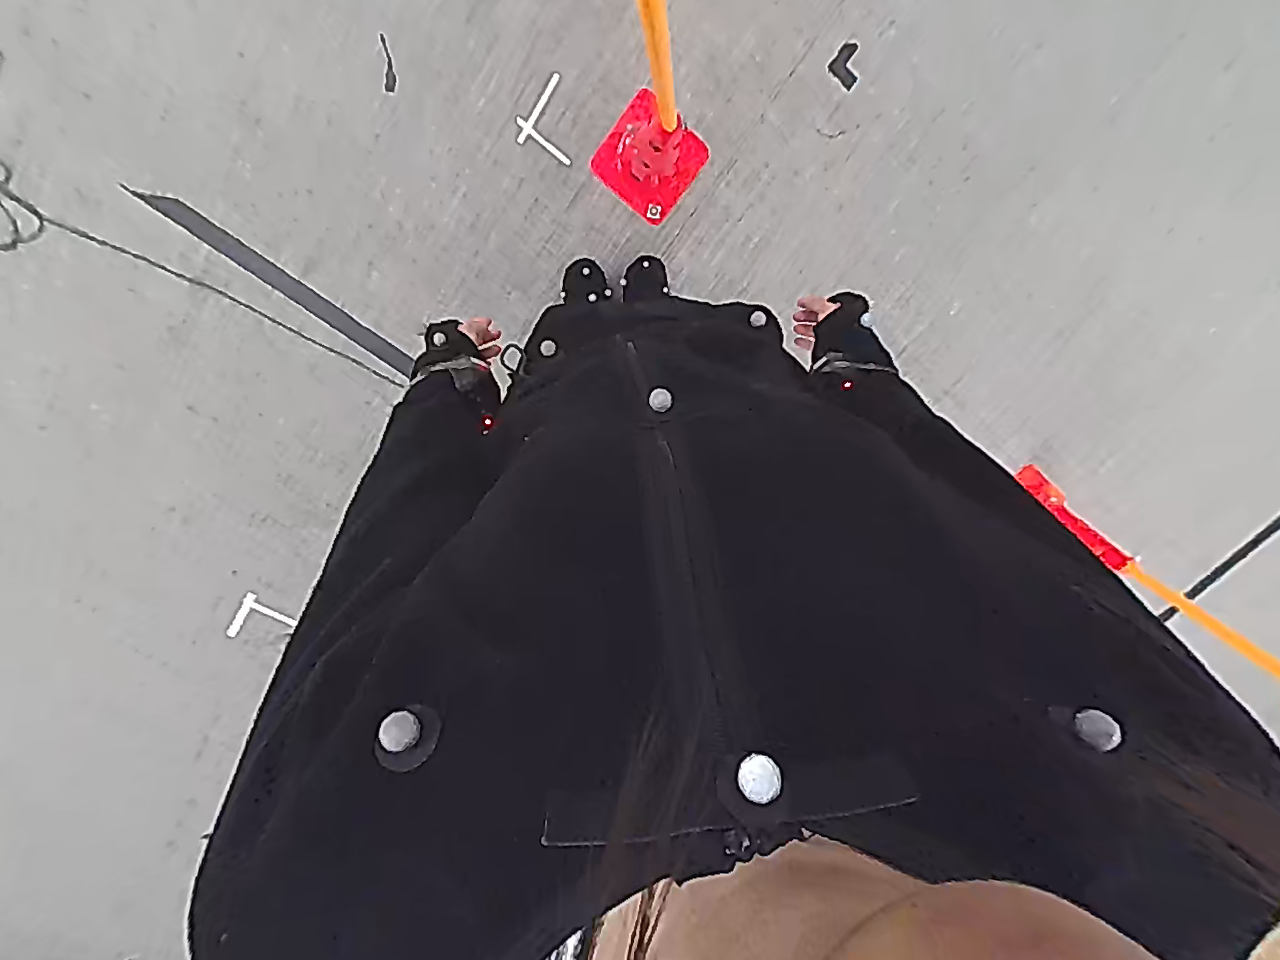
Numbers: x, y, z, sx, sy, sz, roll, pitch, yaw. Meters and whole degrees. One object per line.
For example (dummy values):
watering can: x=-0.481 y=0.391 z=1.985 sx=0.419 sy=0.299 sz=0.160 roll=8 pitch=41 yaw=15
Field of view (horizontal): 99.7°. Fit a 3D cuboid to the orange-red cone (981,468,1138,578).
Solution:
orange-red cone: x=1.135 y=0.146 z=1.425 sx=0.199 sy=0.360 sz=0.198 roll=38 pitch=105 yaw=-18
